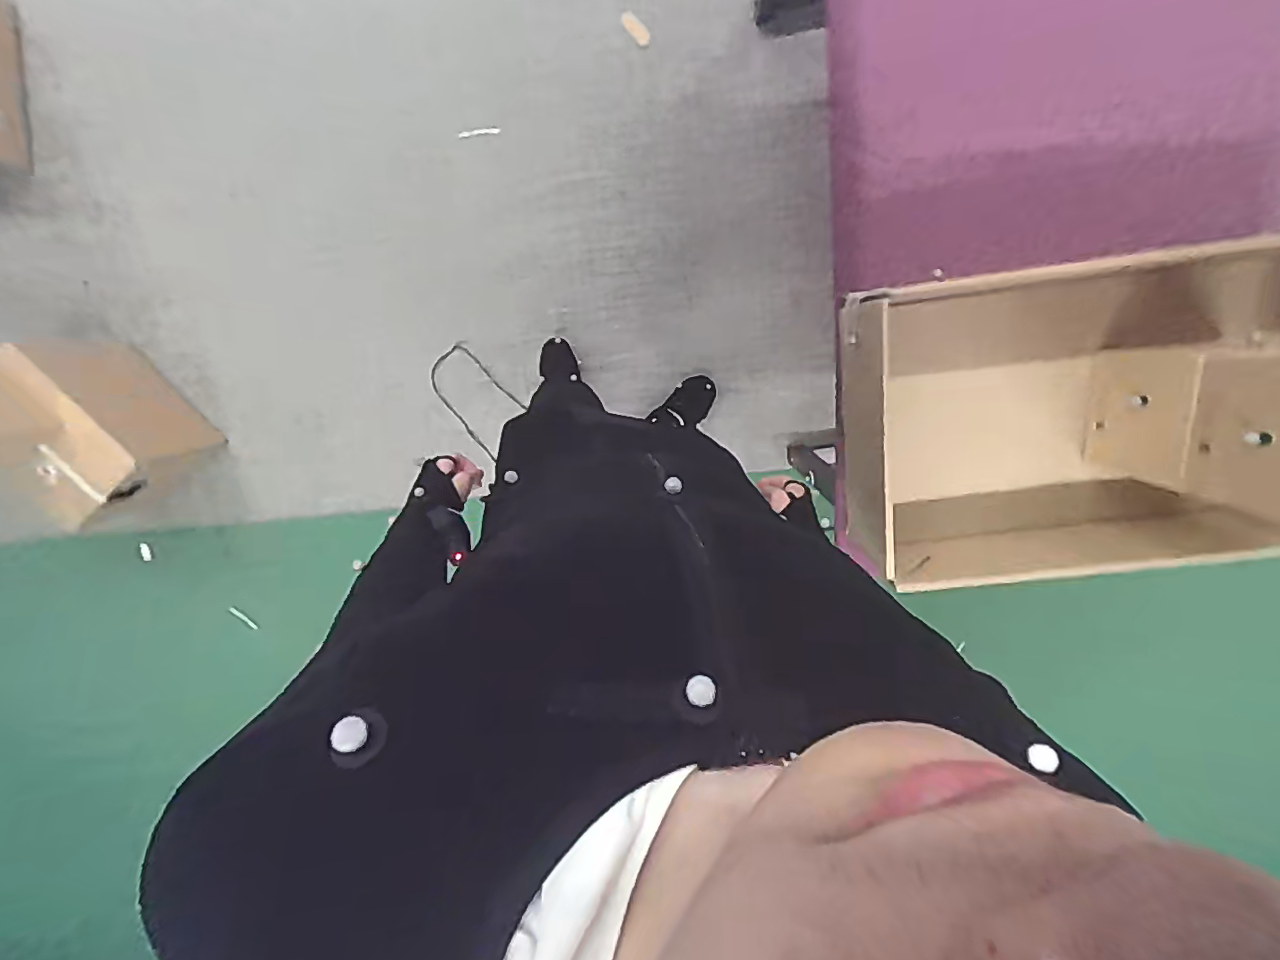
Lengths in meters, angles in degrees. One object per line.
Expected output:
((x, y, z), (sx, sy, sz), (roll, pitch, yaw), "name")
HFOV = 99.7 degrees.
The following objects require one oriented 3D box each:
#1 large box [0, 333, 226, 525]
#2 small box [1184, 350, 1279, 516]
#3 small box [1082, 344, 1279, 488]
((-1.516, -0.157, 1.514), (0.320, 0.320, 0.408), (-38, 102, 12), "large box")
((0.734, -0.049, 0.560), (0.179, 0.176, 0.168), (-3, 104, 4), "small box")
((0.740, -0.091, 0.718), (0.179, 0.176, 0.168), (-4, 104, 4), "small box")
